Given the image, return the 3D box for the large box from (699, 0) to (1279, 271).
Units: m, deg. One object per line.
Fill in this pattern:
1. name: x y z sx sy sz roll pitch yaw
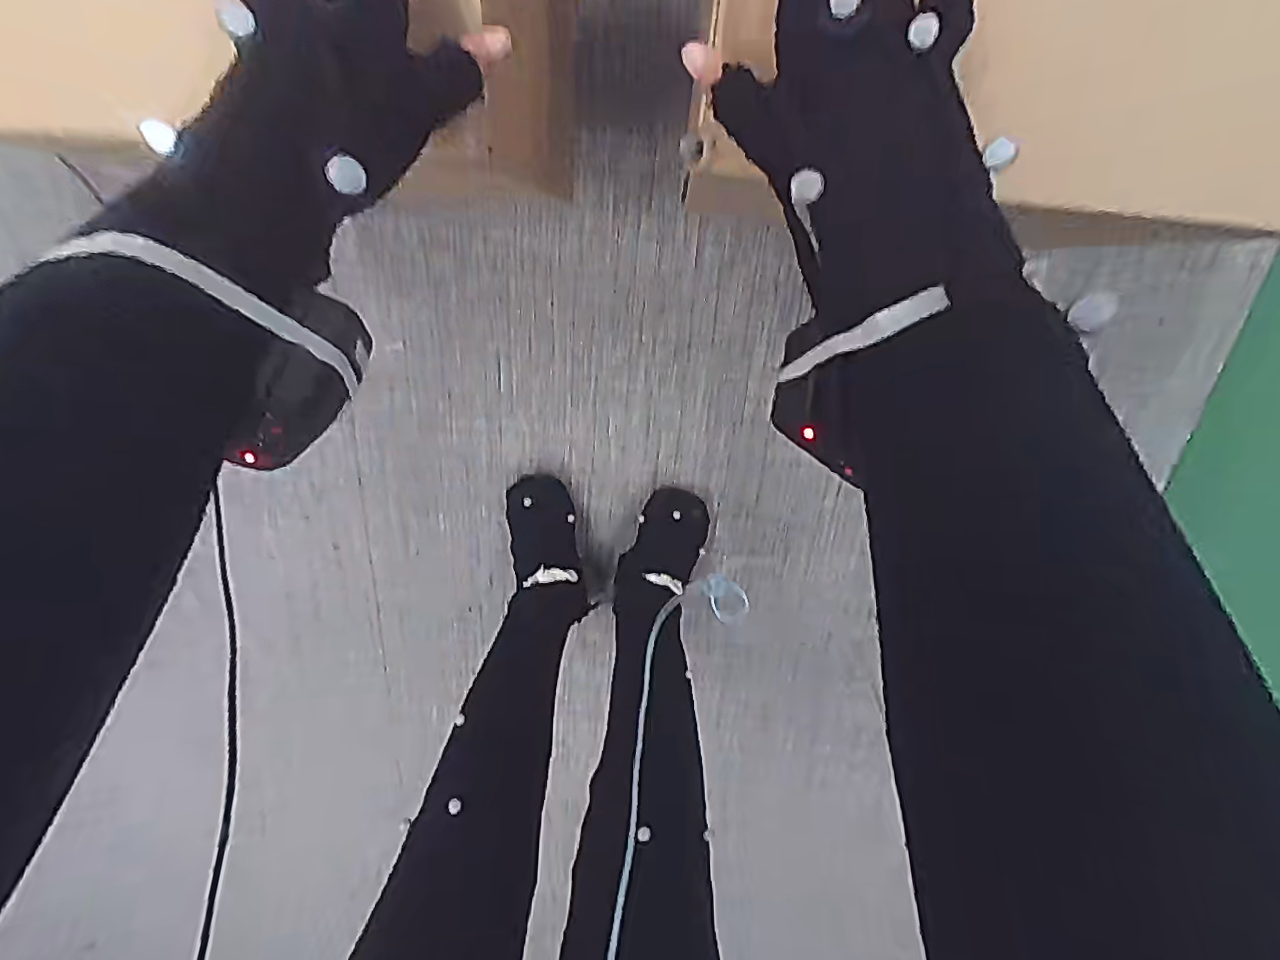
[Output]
1. large box: 0.271 -0.357 0.440 0.408 0.320 0.320 7 112 1
